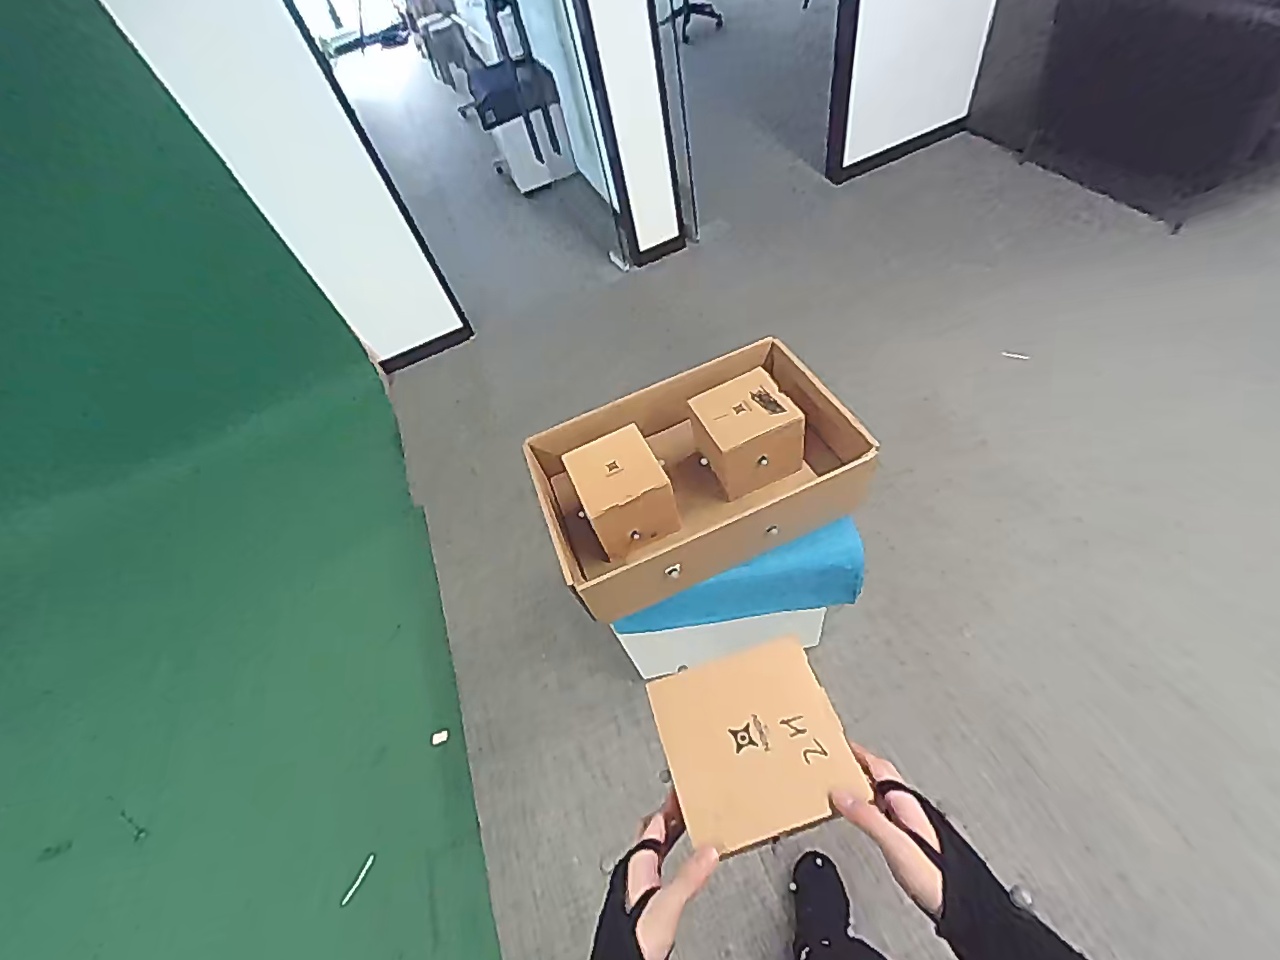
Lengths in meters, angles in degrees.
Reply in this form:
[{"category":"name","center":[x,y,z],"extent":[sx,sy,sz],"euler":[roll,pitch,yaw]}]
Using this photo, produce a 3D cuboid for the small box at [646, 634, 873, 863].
[{"category":"small box","center":[0.120,0.299,0.593],"extent":[0.179,0.176,0.168],"euler":[-17,53,-4]}]
